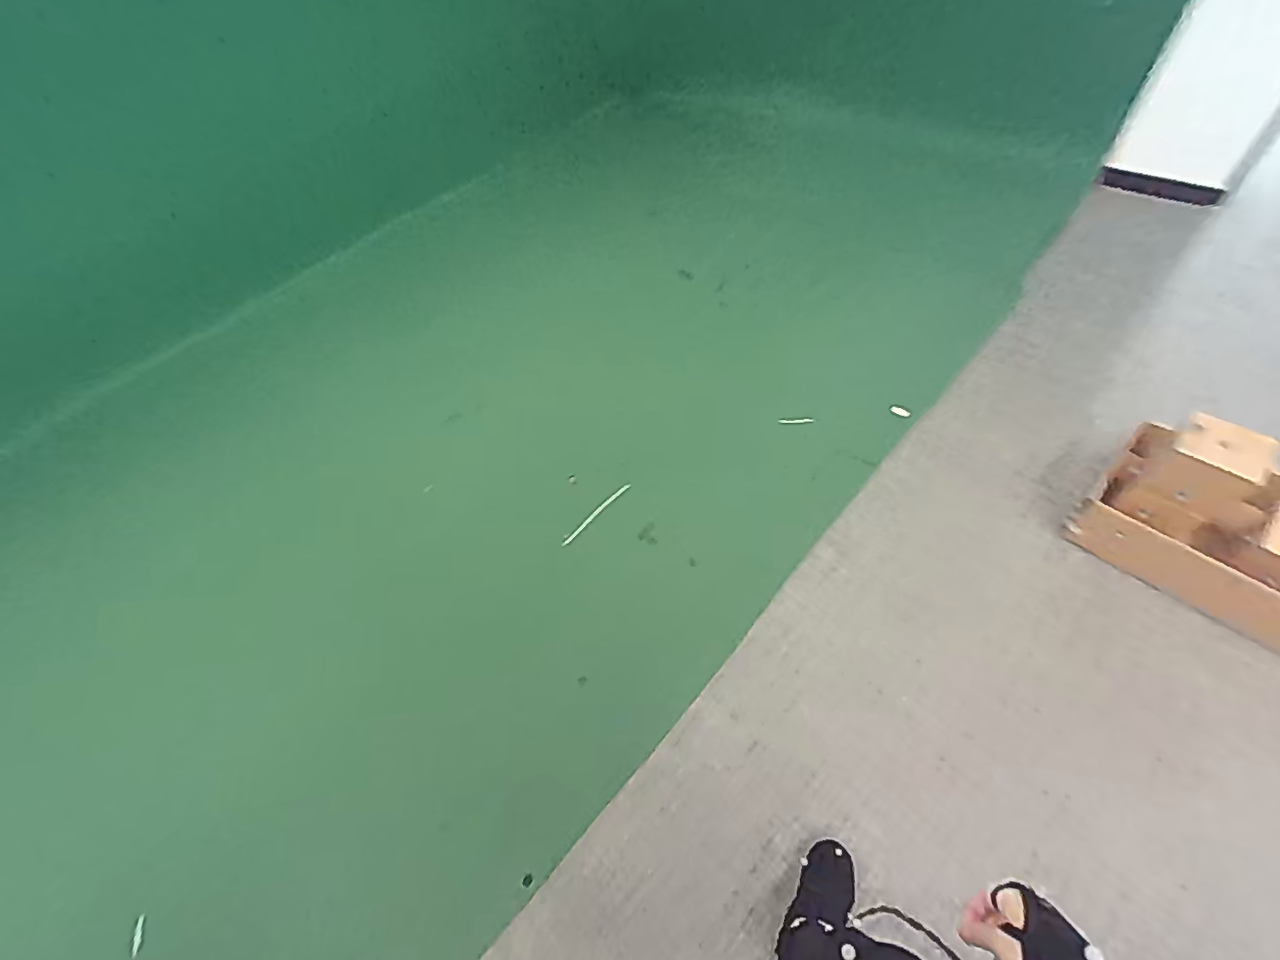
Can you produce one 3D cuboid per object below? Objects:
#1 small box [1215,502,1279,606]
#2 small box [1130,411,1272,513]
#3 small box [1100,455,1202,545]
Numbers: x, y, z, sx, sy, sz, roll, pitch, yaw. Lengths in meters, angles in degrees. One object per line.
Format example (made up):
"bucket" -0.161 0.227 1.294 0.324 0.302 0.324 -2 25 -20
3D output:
"small box" 1.666 0.197 1.402 0.179 0.176 0.168 -41 59 -19
"small box" 1.444 -0.039 1.402 0.179 0.176 0.168 35 66 27
"small box" 1.465 0.051 1.537 0.168 0.176 0.179 36 66 28
